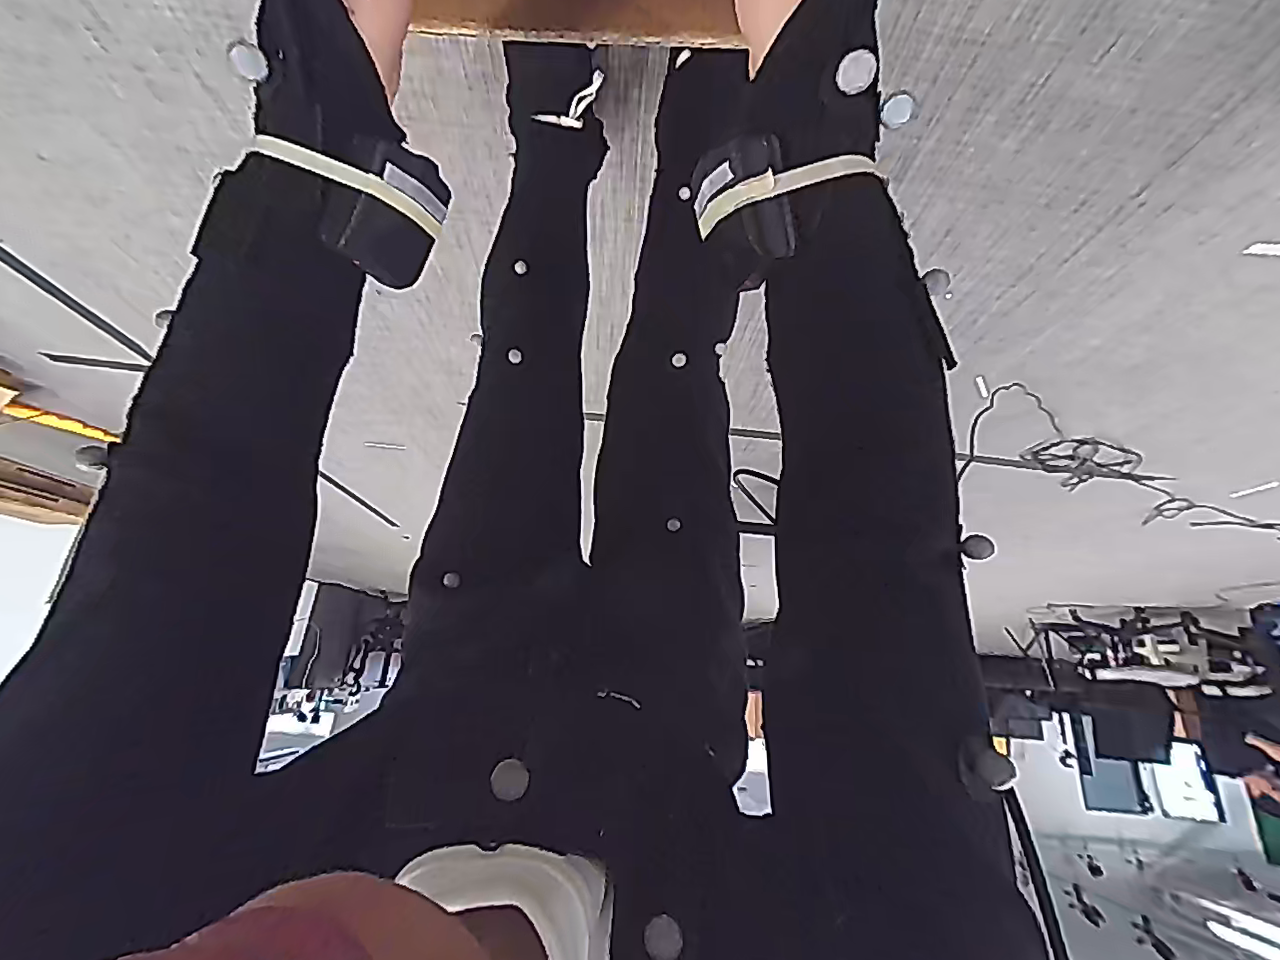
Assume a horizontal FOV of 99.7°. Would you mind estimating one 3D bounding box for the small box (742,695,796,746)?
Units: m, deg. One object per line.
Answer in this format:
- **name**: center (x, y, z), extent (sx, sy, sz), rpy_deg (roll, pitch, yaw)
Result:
- **small box**: center (0.513, 0.953, 2.155), extent (0.168, 0.176, 0.179), rpy_deg (6, 160, -5)
